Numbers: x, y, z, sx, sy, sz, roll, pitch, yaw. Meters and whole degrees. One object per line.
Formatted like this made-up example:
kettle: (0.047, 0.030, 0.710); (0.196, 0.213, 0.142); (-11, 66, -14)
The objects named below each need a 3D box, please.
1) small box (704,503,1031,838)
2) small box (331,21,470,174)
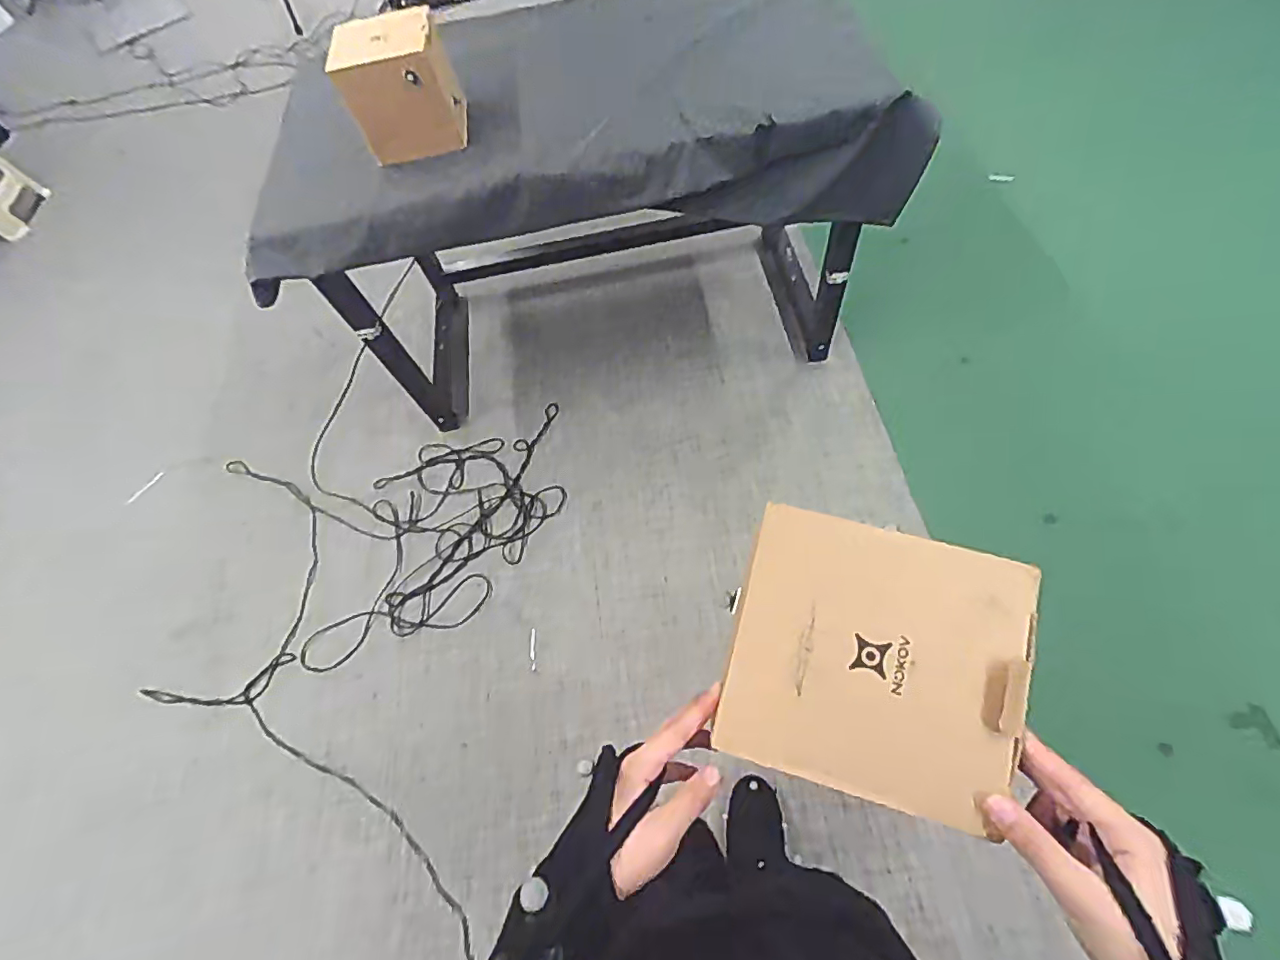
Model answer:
small box: (0.154, 0.130, 0.417); (0.179, 0.176, 0.168); (13, 77, 11)
small box: (-0.438, -0.709, 1.015); (0.179, 0.176, 0.168); (-11, 61, 2)
